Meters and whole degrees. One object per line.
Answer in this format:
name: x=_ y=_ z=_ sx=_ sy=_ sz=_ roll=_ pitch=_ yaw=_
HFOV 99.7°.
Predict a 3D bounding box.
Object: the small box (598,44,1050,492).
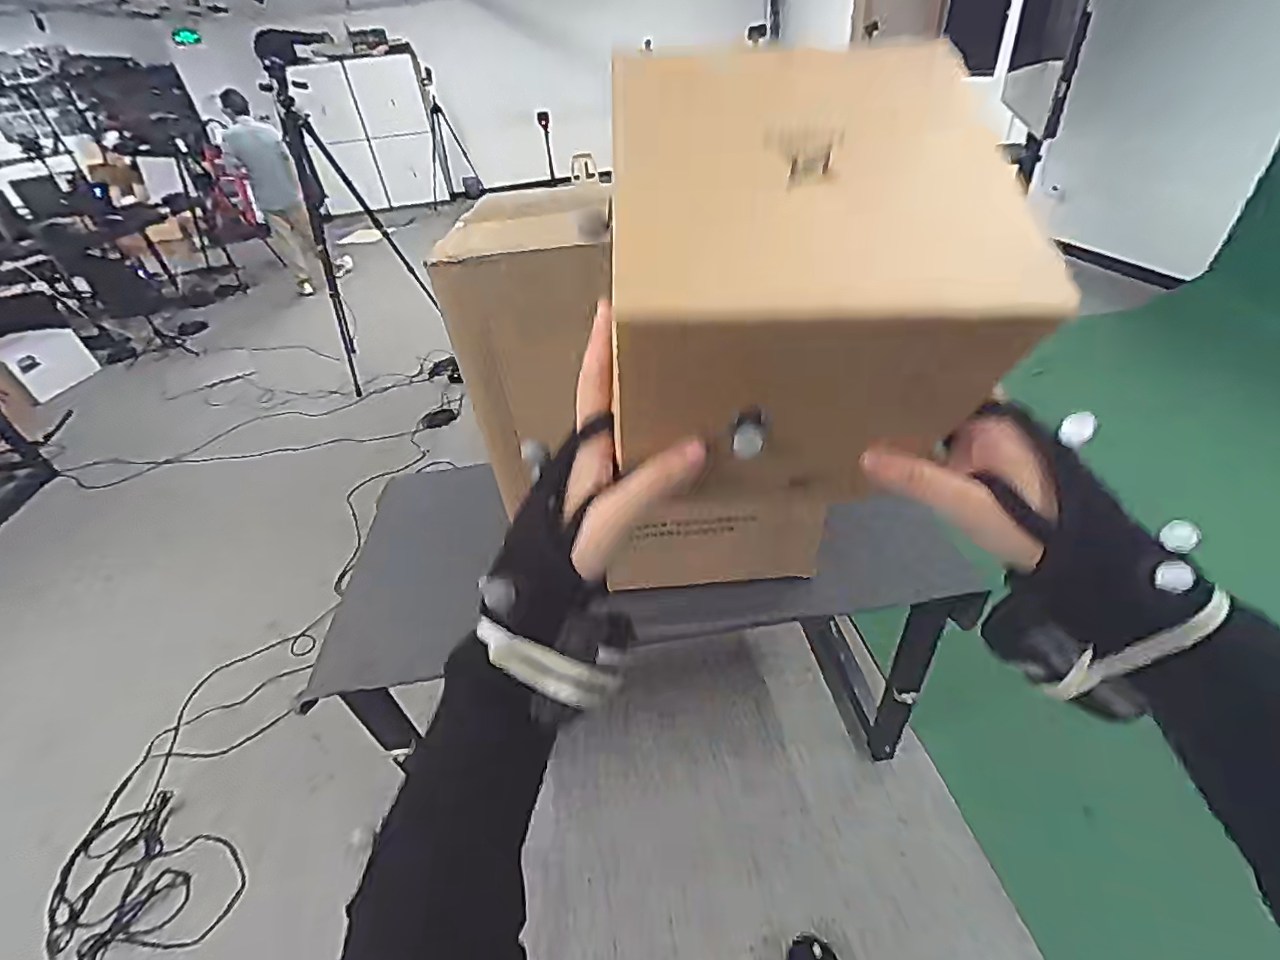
small box: x=0.067 y=-0.100 z=0.302 sx=0.168 sy=0.176 sz=0.179 roll=-1 pitch=63 yaw=-1
